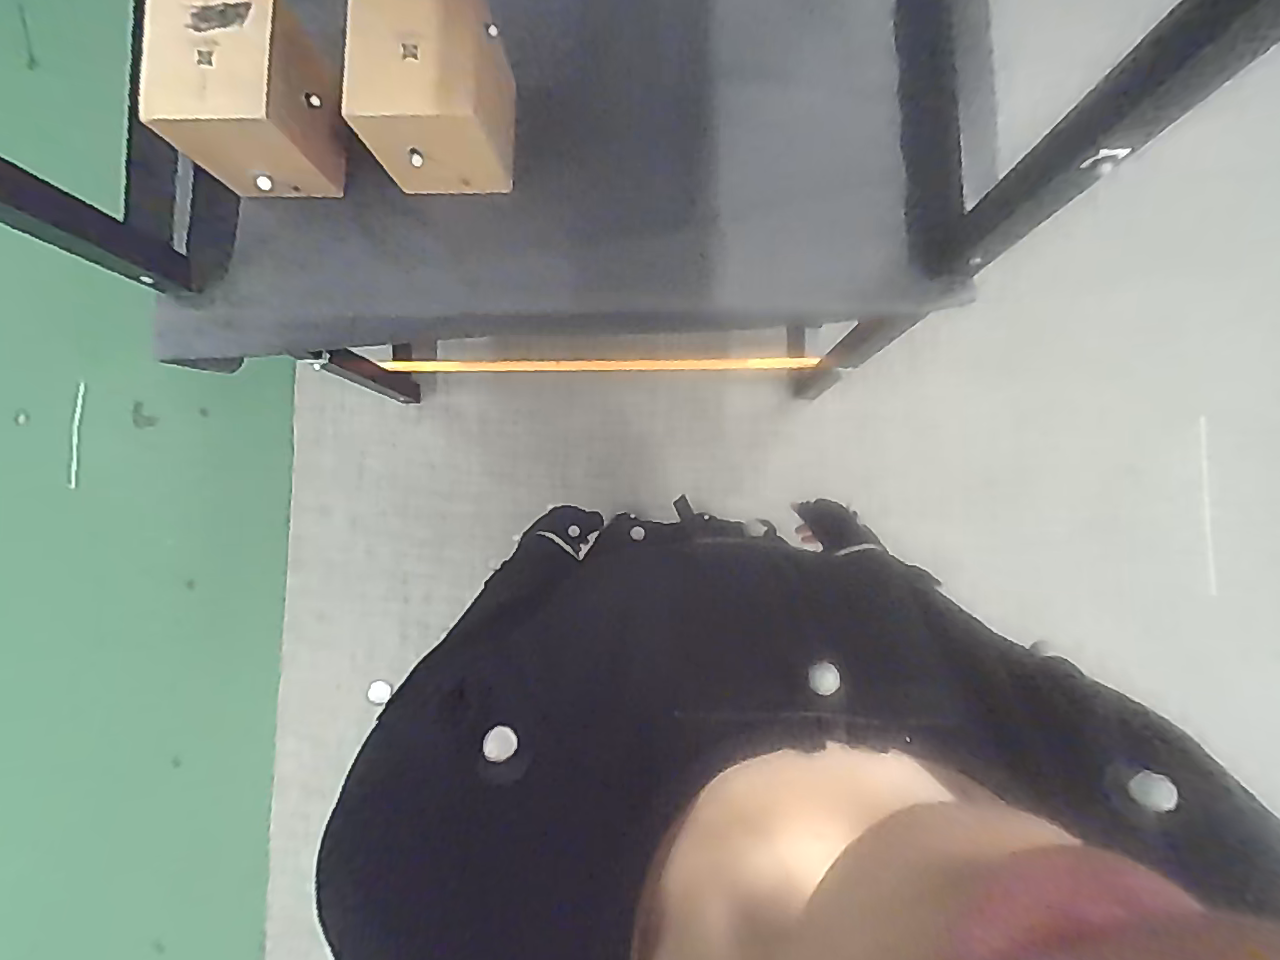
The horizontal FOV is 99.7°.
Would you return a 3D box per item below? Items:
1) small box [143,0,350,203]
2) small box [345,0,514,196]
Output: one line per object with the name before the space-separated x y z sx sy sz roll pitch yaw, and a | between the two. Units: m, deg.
small box | -0.529 -0.518 0.753 0.168 0.176 0.179 1 87 3
small box | -0.277 -0.517 0.745 0.168 0.176 0.179 1 86 2
